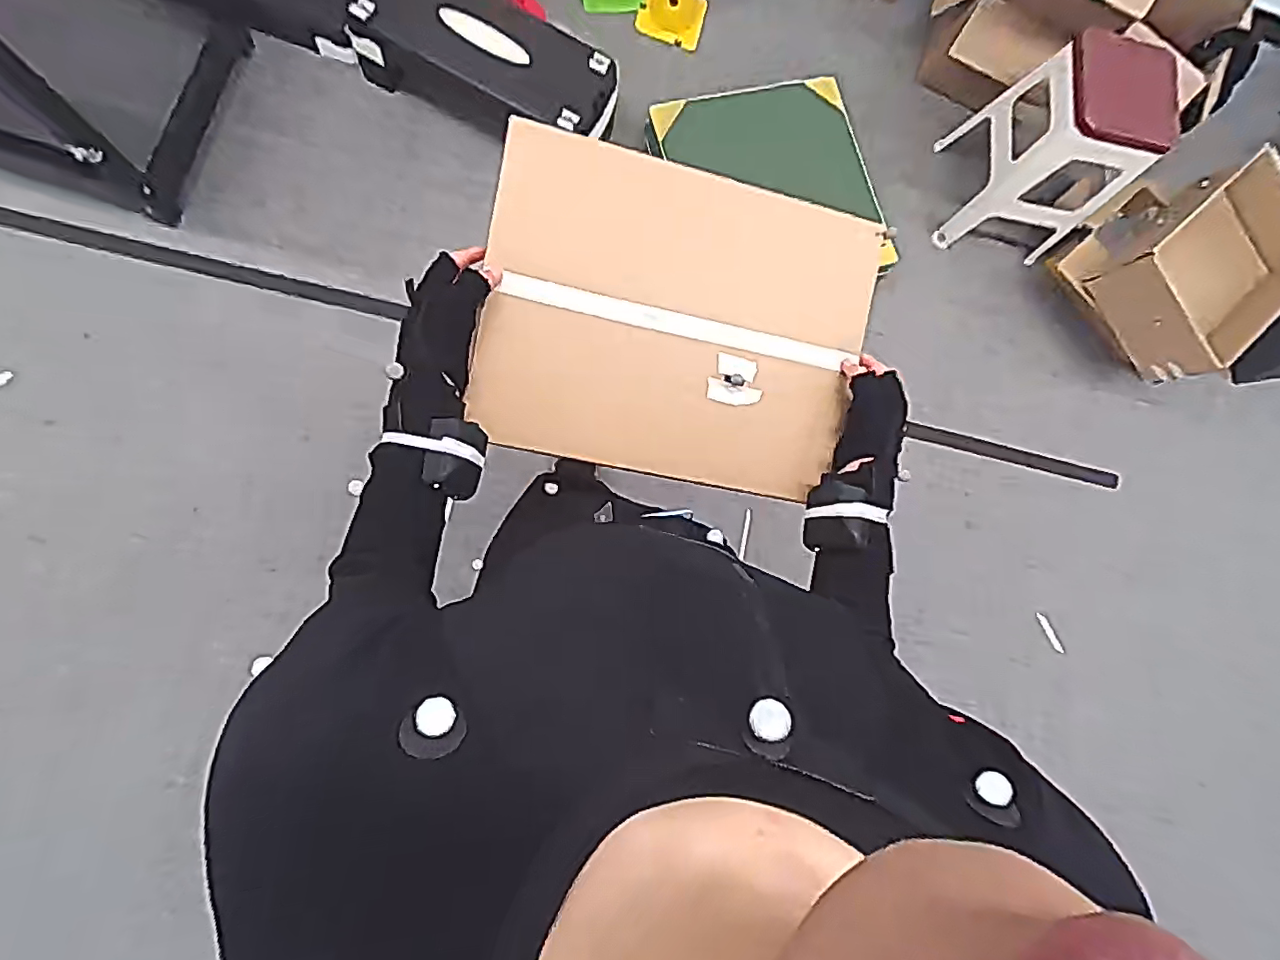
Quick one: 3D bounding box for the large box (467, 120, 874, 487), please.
[{"bbox_3d":[0.017,-0.185,0.719,0.408,0.320,0.320,11,93,-10],"label":"large box"}]
